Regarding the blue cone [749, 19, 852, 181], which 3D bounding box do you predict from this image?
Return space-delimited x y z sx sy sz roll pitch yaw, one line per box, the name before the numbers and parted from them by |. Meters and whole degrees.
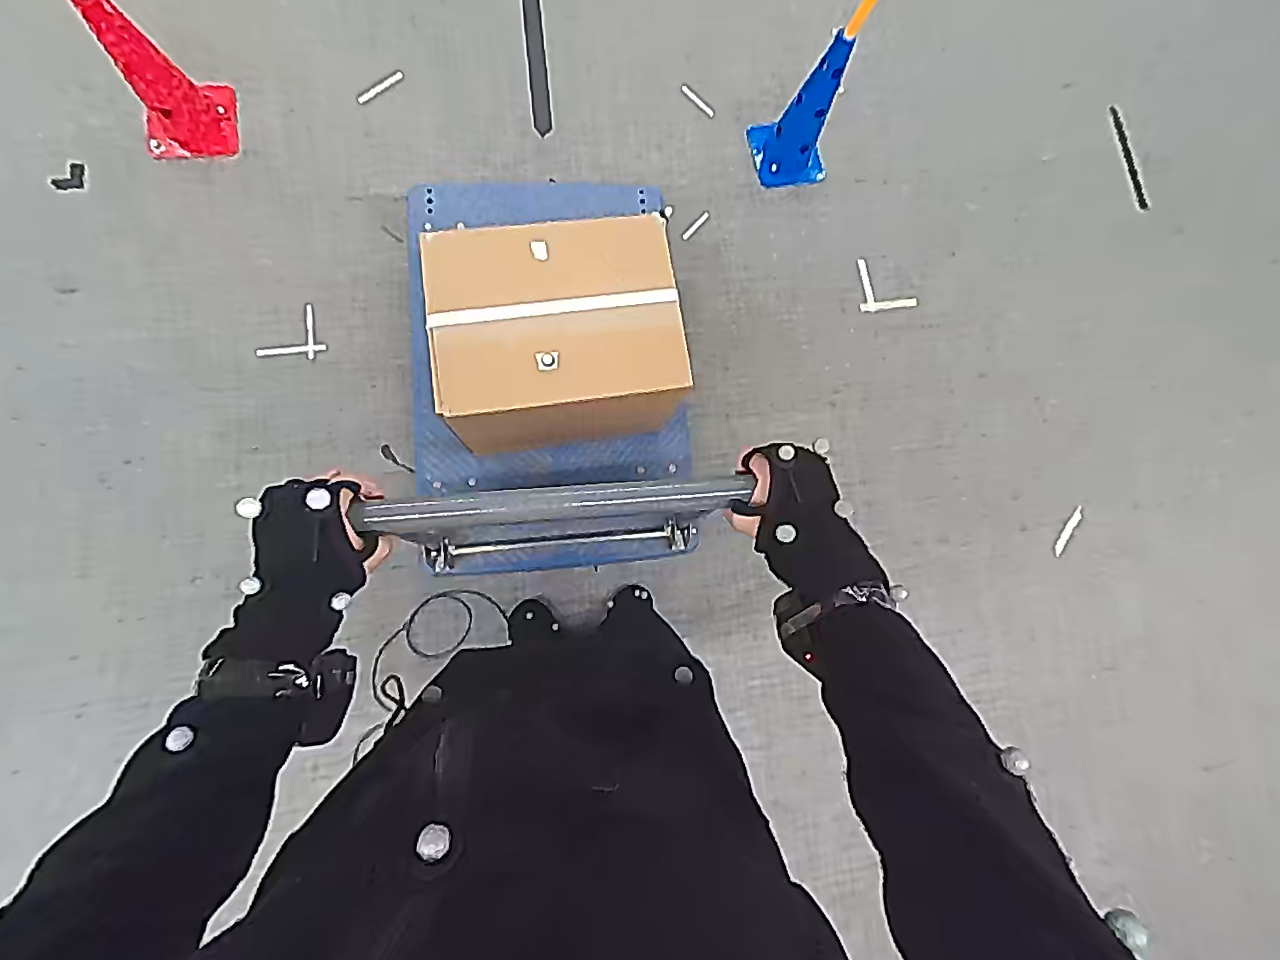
blue cone | 0.438 -0.973 1.389 0.193 0.380 0.192 -10 81 -9
